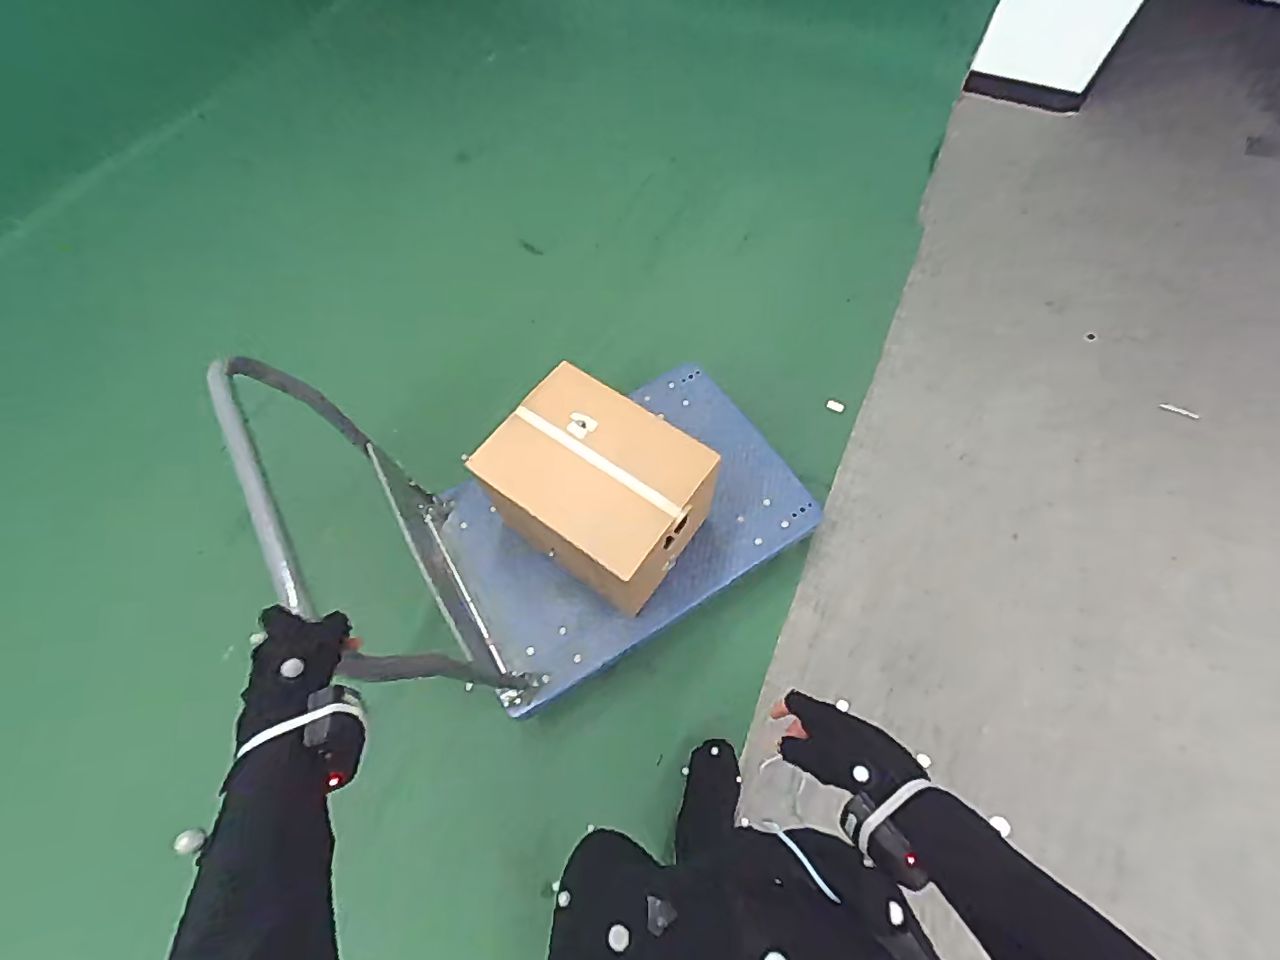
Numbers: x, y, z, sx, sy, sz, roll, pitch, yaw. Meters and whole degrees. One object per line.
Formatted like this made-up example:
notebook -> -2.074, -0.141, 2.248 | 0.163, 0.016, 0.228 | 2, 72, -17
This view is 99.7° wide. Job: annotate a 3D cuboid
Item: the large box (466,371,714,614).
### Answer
large box -> -0.091, 0.038, 1.201 | 0.408, 0.320, 0.320 | 32, 69, 17
